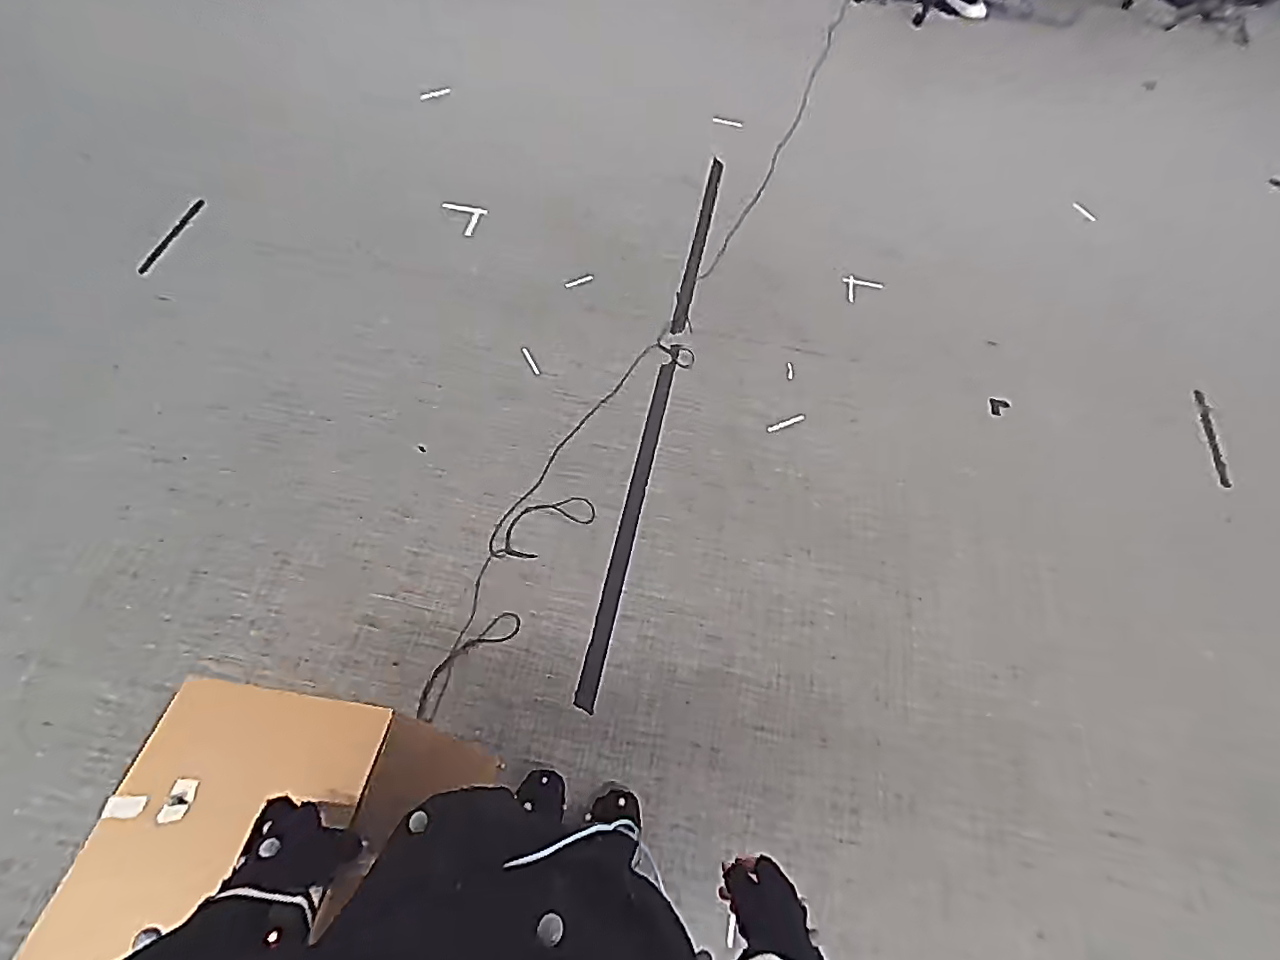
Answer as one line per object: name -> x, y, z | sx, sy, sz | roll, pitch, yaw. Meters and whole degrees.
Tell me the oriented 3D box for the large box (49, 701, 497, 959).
large box -> -0.449, 0.528, 0.771 | 0.320, 0.408, 0.320 | 4, 57, 10
